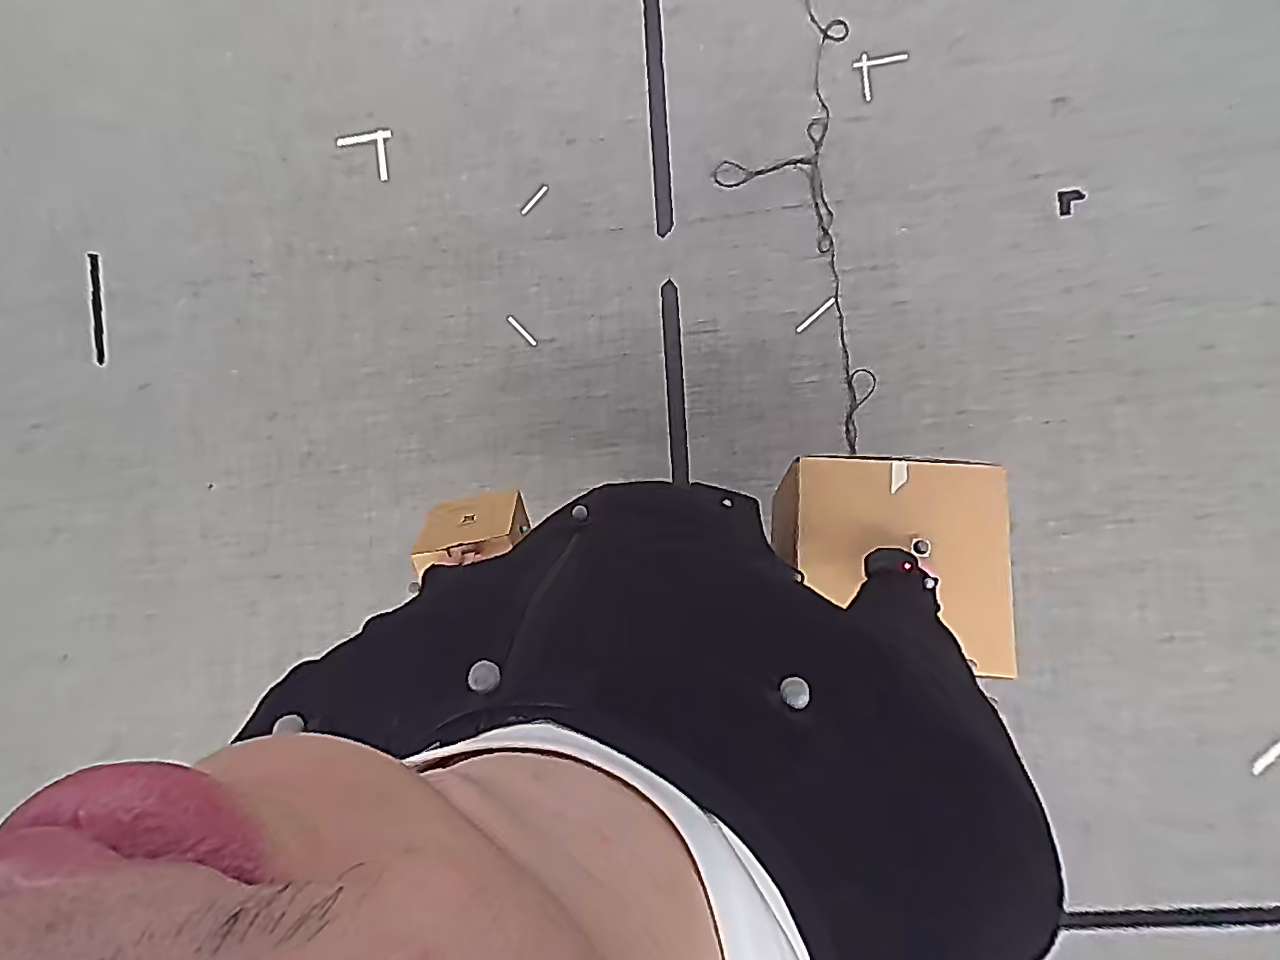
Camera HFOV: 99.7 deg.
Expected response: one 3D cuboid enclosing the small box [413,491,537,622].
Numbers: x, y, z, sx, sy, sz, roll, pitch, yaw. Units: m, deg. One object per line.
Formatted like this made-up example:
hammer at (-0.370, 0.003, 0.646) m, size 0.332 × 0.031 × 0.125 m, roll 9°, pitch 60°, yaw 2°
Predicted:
small box at (-0.292, 0.145, 1.001) m, size 0.168 × 0.179 × 0.176 m, roll -11°, pitch 115°, yaw -2°
